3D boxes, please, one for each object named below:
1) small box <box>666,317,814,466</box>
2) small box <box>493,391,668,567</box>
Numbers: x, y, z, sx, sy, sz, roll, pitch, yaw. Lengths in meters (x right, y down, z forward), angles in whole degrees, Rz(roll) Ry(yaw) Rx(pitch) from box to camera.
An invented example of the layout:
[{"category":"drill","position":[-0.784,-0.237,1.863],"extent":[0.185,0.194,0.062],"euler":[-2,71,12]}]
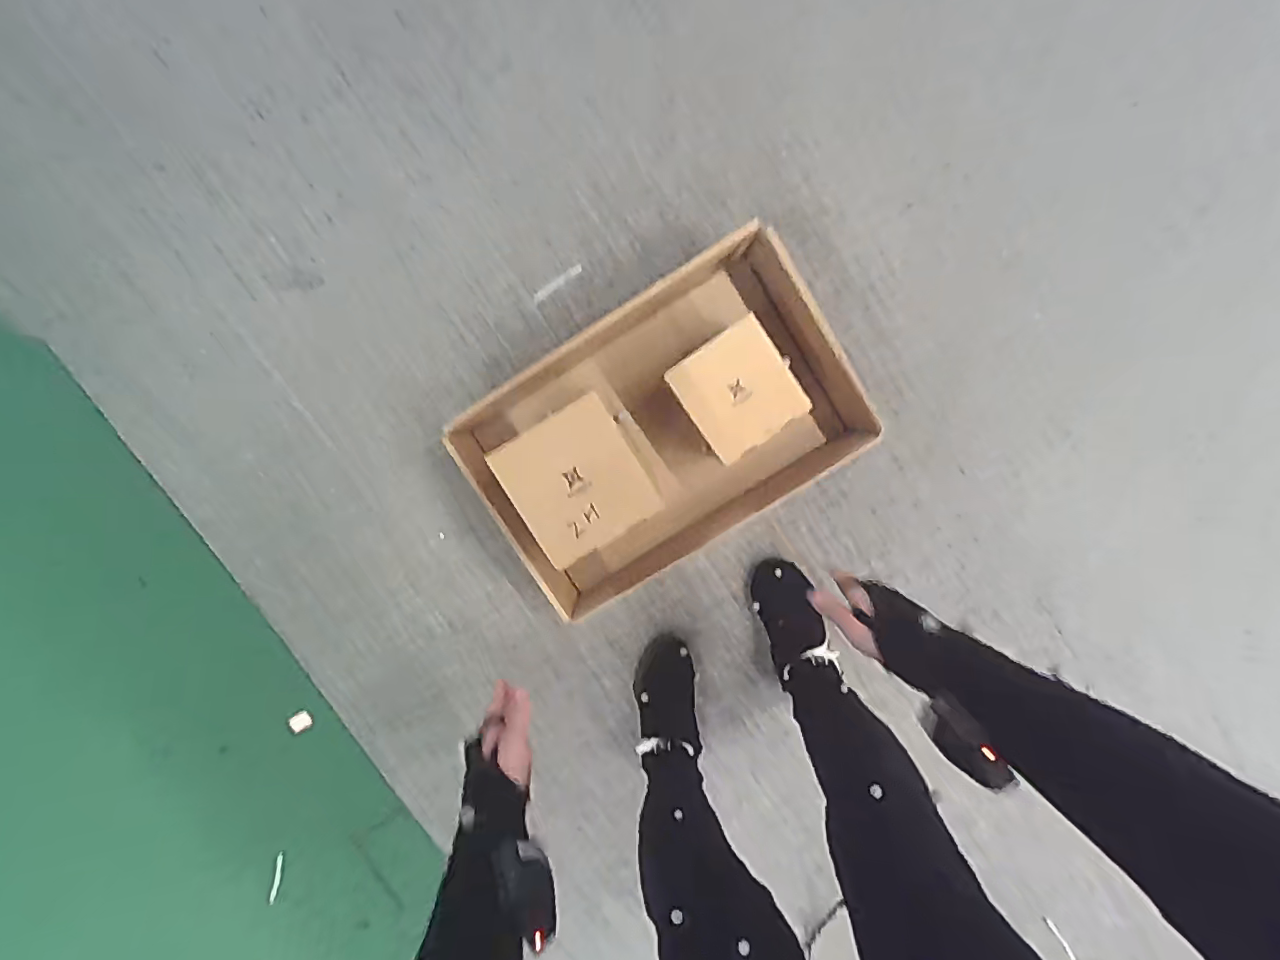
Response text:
[{"category":"small box","position":[0.156,-0.145,0.915],"extent":[0.168,0.176,0.179],"euler":[-35,97,5]},{"category":"small box","position":[-0.077,-0.006,0.767],"extent":[0.168,0.176,0.179],"euler":[-31,96,4]}]
